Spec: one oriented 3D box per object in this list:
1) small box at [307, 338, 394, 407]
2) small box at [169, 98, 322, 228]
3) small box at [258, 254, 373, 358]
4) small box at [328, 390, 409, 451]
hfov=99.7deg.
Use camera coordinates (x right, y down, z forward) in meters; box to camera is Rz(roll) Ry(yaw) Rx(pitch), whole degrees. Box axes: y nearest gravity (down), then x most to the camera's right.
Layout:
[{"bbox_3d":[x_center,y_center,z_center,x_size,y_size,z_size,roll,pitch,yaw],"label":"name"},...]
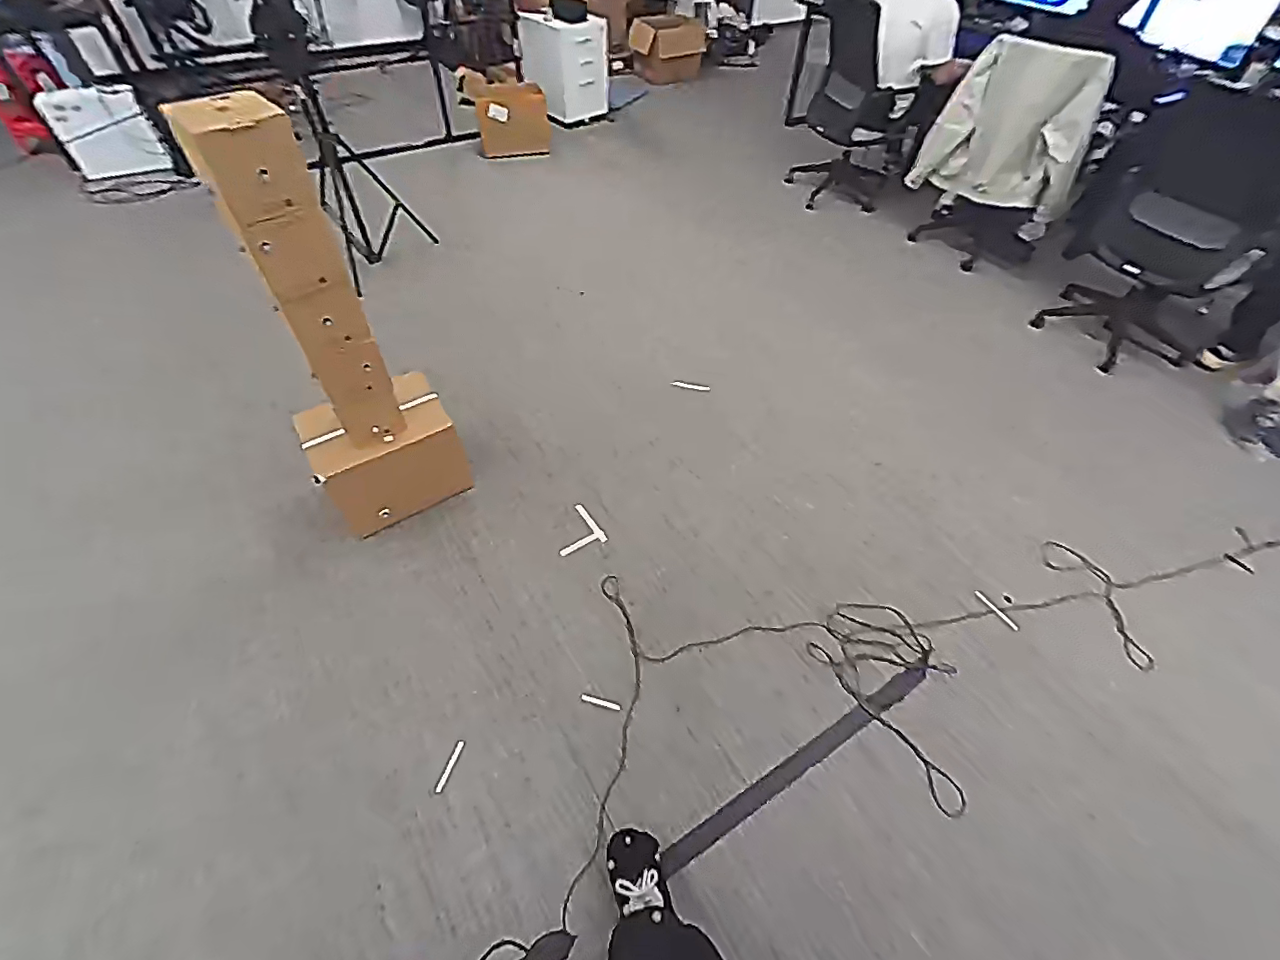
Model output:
[{"bbox_3d":[-0.796,-0.319,1.467,0.168,0.176,0.179,-28,56,-24],"label":"small box"},{"bbox_3d":[-0.779,-0.630,1.085,0.168,0.176,0.179,-35,62,-28],"label":"small box"},{"bbox_3d":[-0.795,-0.424,1.340,0.168,0.176,0.179,-32,59,-27],"label":"small box"},{"bbox_3d":[-0.809,-0.218,1.593,0.168,0.176,0.179,-28,58,-22],"label":"small box"}]
